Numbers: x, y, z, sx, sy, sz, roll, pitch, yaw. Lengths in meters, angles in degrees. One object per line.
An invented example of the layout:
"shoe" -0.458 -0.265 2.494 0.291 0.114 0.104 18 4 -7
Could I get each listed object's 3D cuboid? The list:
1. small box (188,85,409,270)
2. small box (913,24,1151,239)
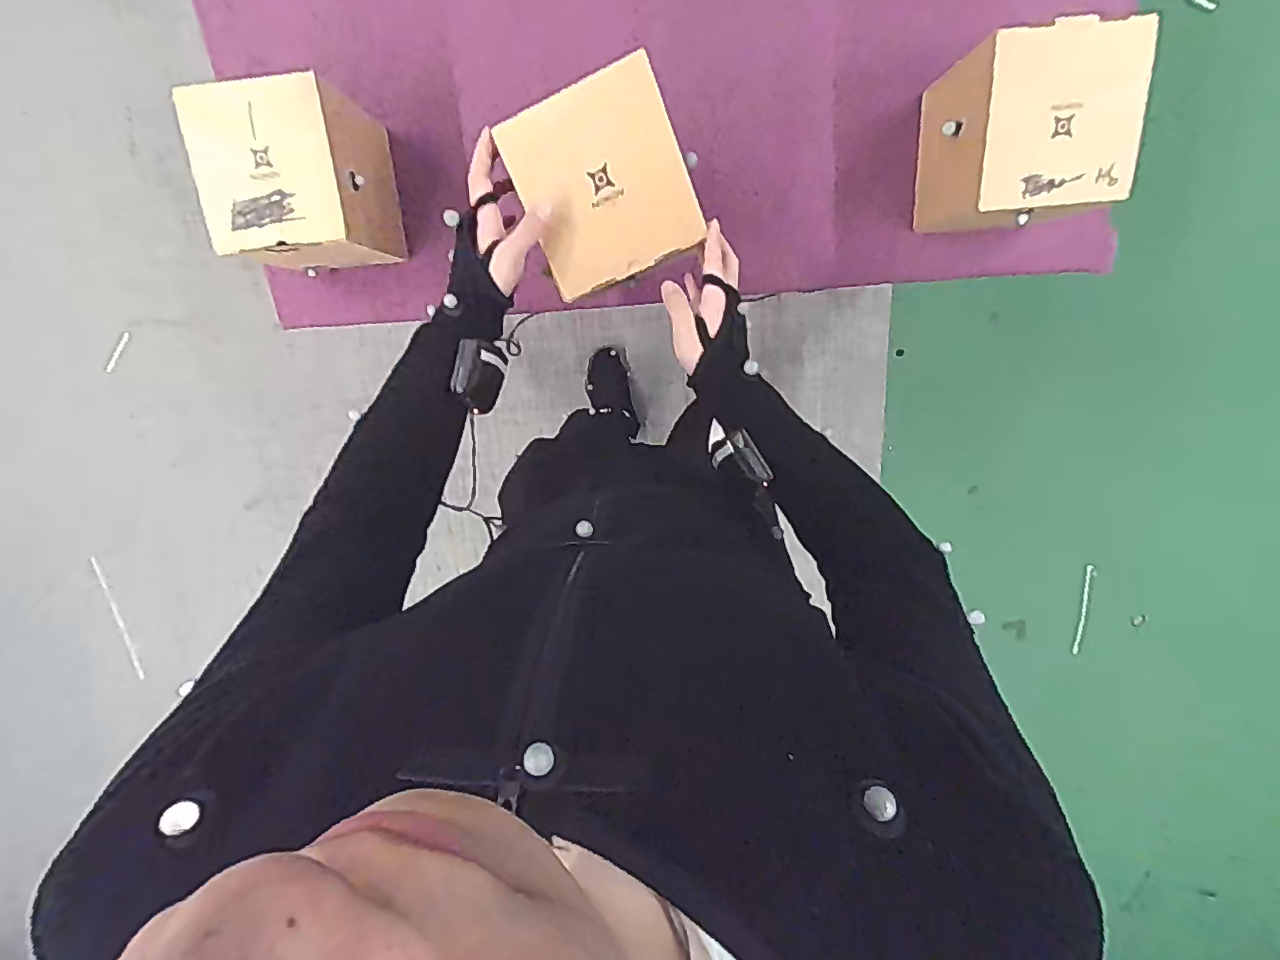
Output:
"small box" -0.429 -0.379 0.714 0.168 0.176 0.179 -4 104 3
"small box" 0.455 -0.406 0.661 0.168 0.176 0.179 -2 106 5
